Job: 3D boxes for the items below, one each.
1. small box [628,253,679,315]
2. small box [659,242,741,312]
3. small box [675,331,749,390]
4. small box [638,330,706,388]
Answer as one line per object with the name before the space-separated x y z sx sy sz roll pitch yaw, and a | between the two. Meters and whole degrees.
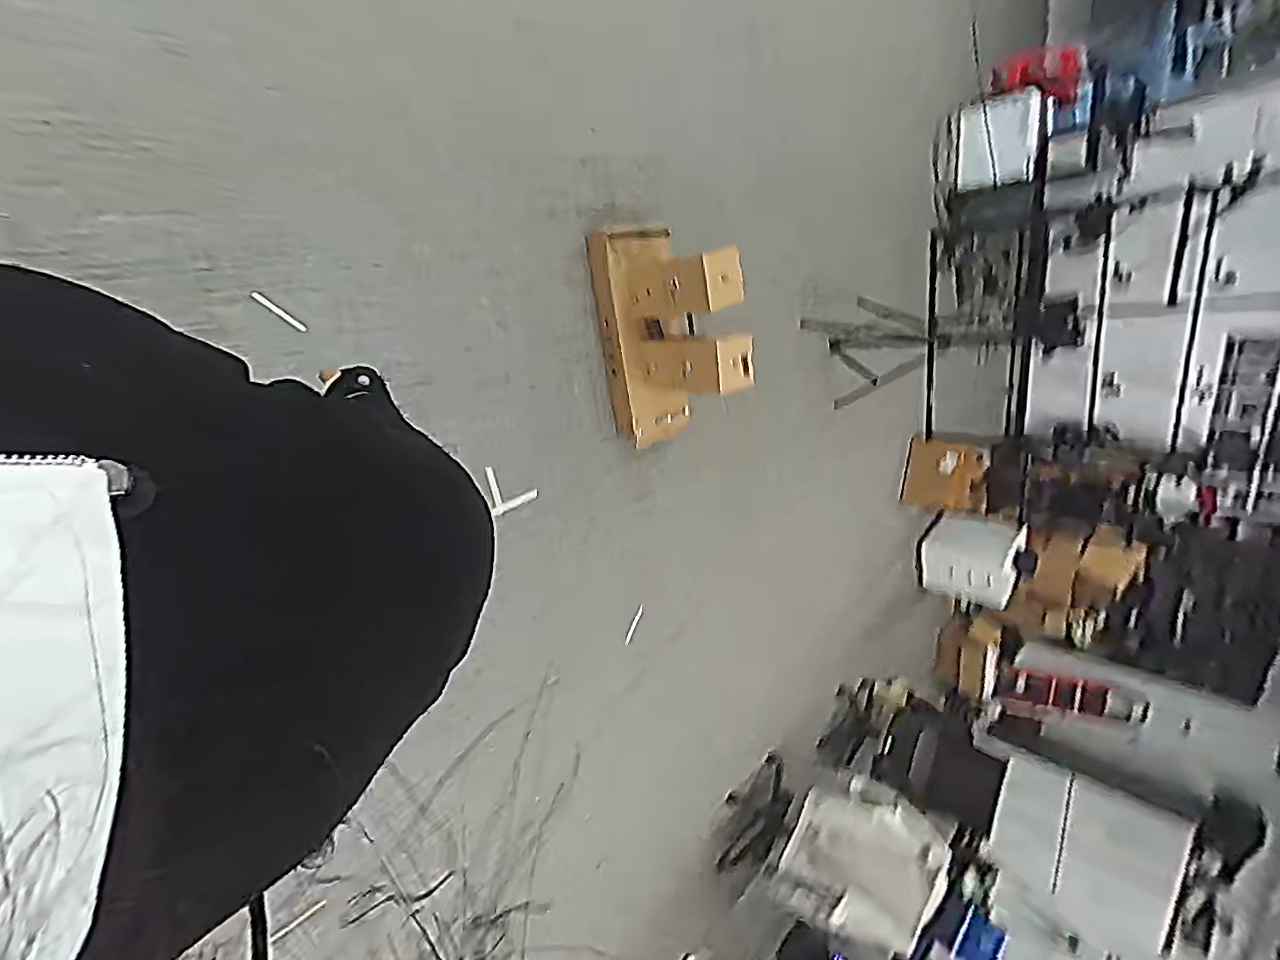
small box | 0.076 -0.651 1.792 0.179 0.176 0.168 -28 117 -36
small box | 0.186 -0.625 1.674 0.179 0.176 0.168 -31 118 -35
small box | 0.236 -0.392 1.768 0.179 0.176 0.168 -22 113 -39
small box | 0.120 -0.424 1.880 0.179 0.176 0.168 -27 116 -37
